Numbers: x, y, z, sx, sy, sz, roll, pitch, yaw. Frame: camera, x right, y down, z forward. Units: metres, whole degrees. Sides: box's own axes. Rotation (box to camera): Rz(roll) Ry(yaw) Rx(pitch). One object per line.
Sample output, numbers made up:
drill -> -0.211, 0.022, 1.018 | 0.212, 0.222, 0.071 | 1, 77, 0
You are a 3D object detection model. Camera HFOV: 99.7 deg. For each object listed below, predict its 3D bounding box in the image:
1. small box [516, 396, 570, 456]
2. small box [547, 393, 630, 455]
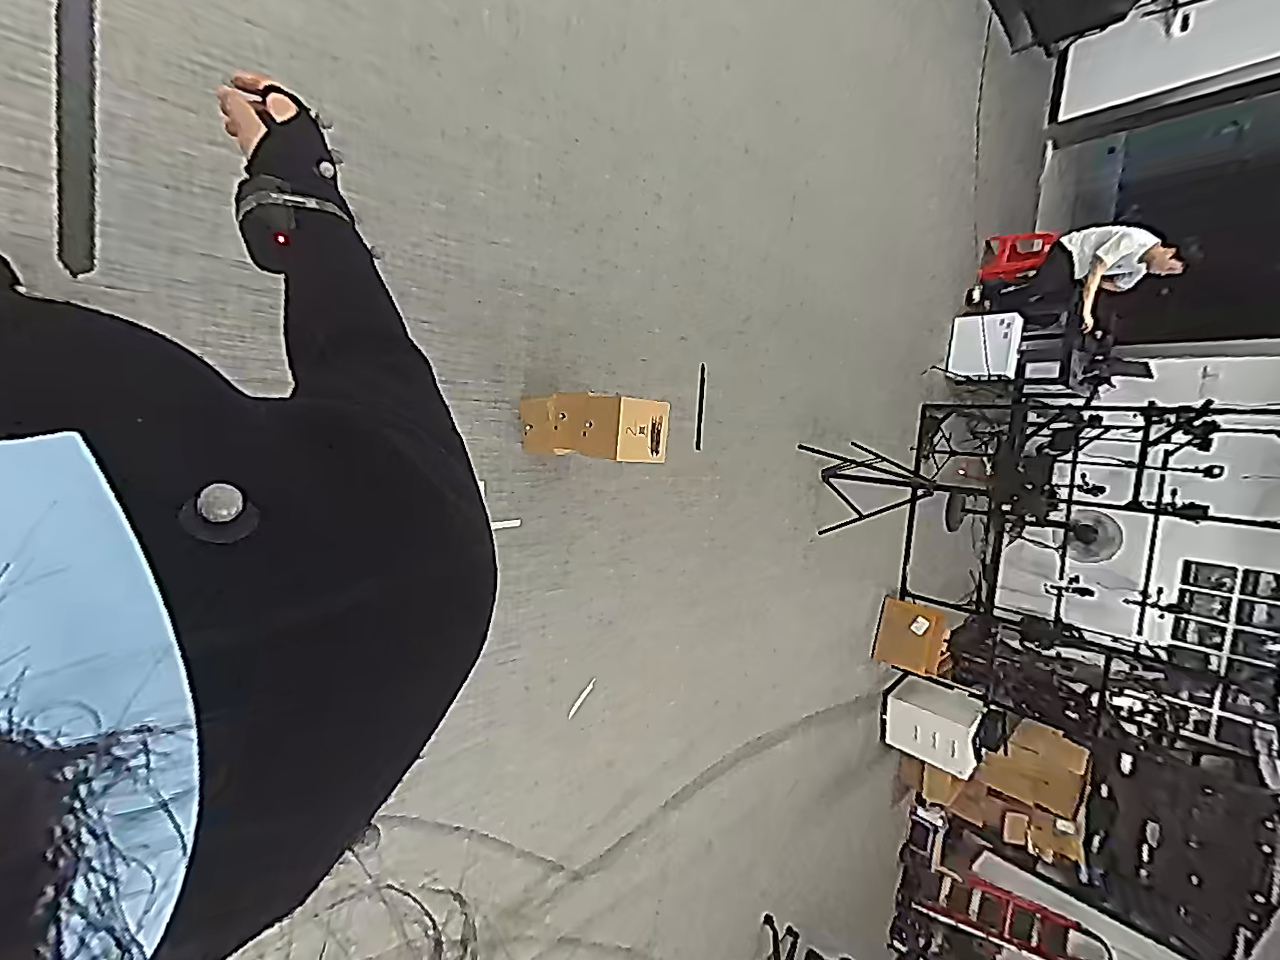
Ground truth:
small box -> -0.271, -0.178, 1.718 | 0.179, 0.176, 0.168 | -17, 107, -41
small box -> -0.154, -0.166, 1.606 | 0.179, 0.176, 0.168 | 0, 97, -43
